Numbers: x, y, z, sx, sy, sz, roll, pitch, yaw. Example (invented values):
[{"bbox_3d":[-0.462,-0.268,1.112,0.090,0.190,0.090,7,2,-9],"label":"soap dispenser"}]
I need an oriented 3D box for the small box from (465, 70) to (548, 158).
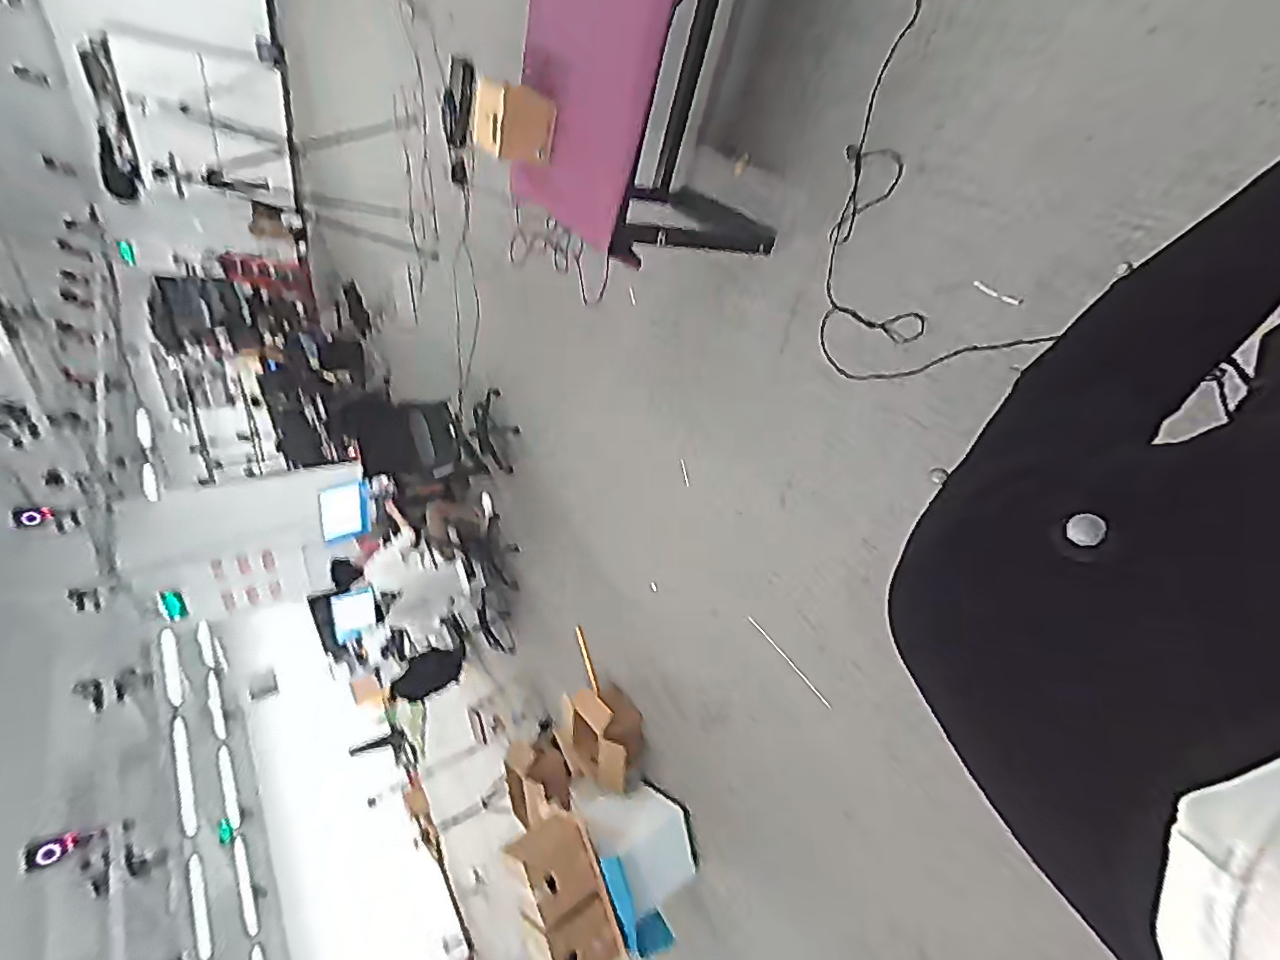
[{"bbox_3d":[-0.387,-1.052,1.565,0.179,0.176,0.168,47,135,30],"label":"small box"}]
